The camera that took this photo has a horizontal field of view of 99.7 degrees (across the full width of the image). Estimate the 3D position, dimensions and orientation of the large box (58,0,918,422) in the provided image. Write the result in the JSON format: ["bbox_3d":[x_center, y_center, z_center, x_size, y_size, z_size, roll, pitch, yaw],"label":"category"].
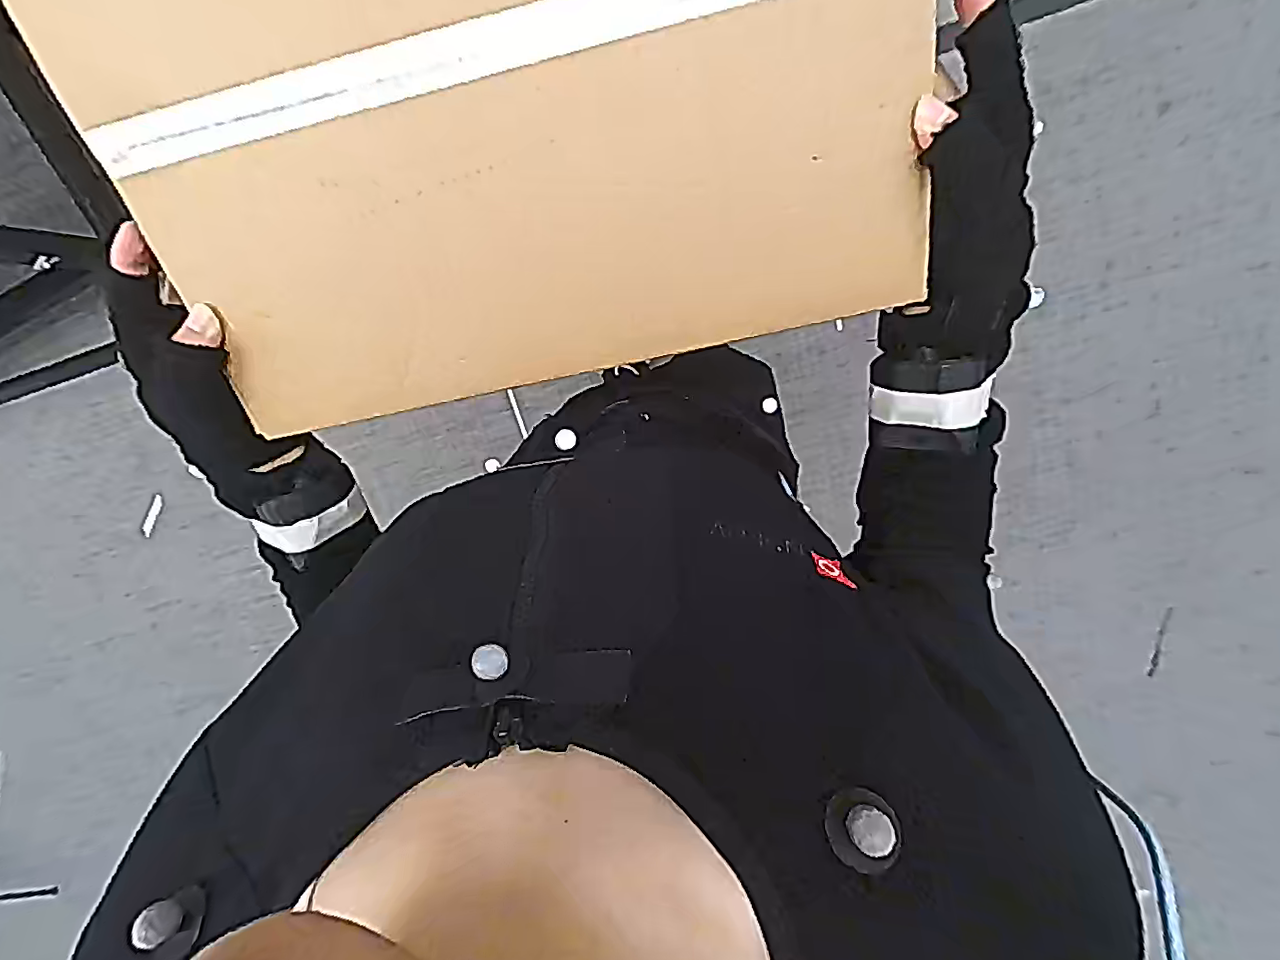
[{"bbox_3d":[-0.070,-0.274,0.397,0.408,0.320,0.320,-11,117,5],"label":"large box"}]
